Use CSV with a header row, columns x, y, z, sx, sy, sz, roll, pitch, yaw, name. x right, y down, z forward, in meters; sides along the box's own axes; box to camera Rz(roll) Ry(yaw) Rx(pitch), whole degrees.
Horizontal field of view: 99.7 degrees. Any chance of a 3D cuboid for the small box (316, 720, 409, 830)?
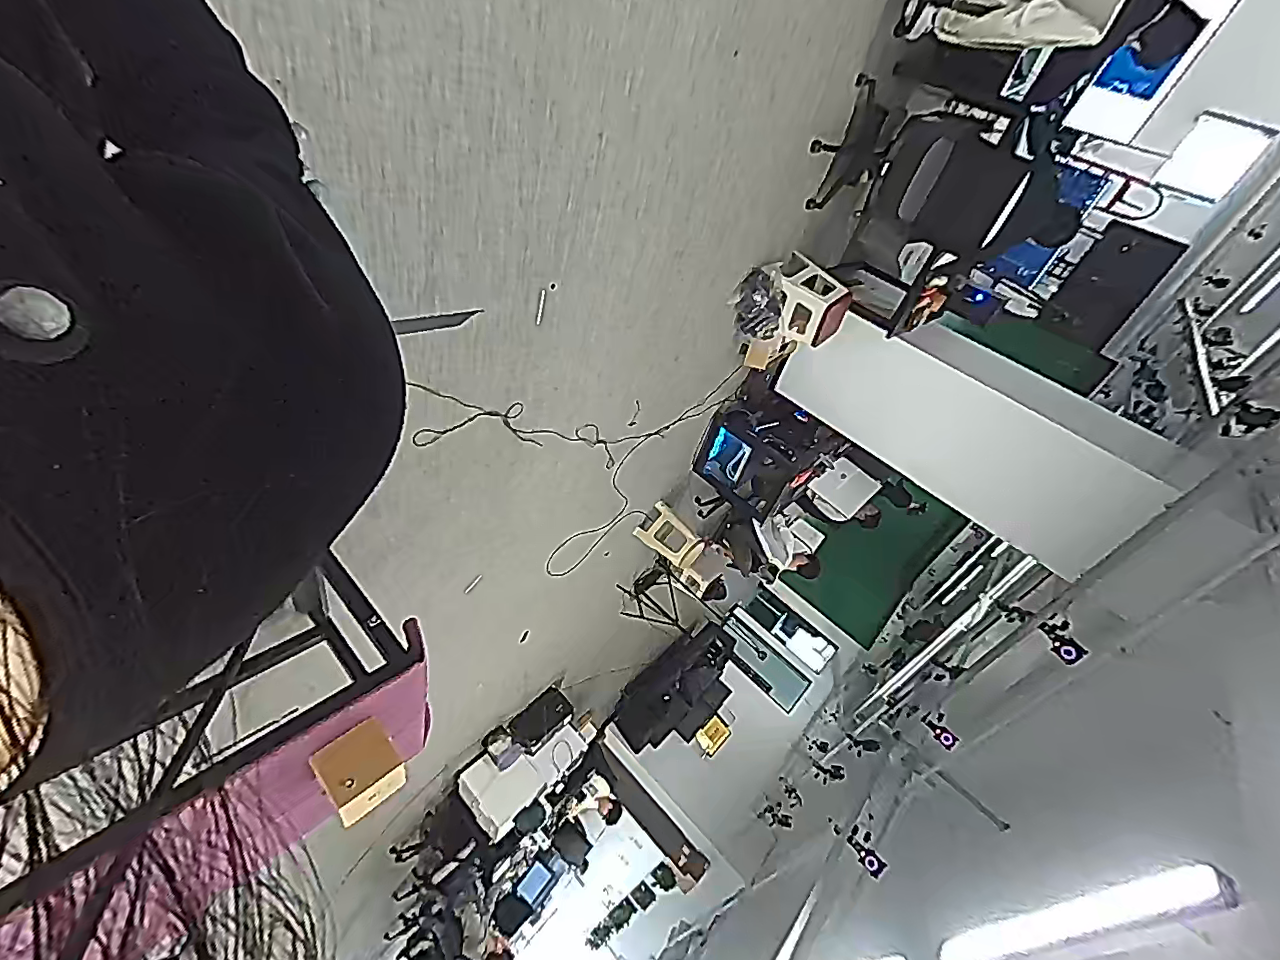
x,y,z,sx,sy,sz,roll,pitch,yaw,name
-0.760,0.803,1.481,0.179,0.176,0.168,-29,151,-40,small box
